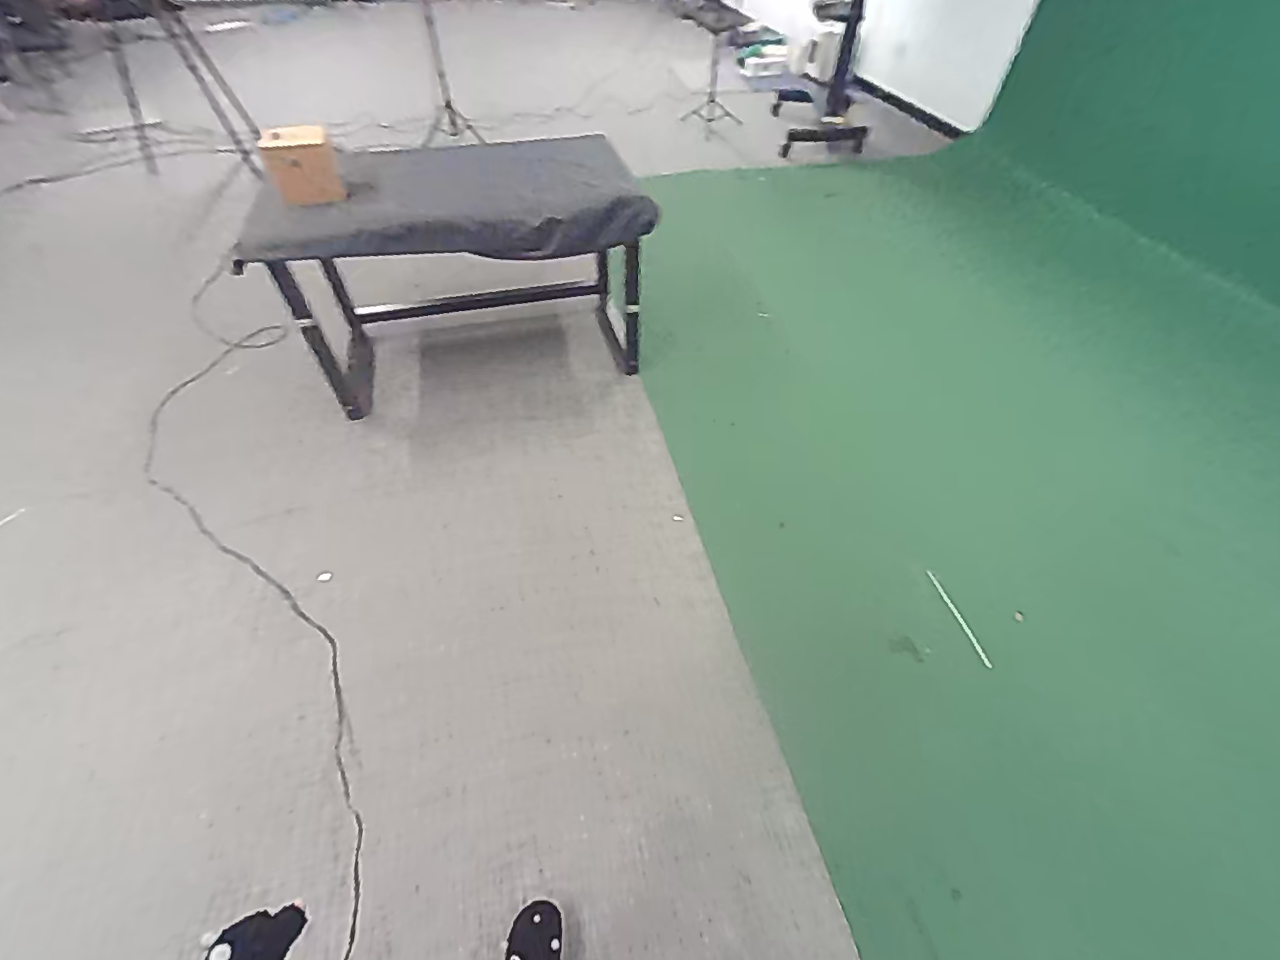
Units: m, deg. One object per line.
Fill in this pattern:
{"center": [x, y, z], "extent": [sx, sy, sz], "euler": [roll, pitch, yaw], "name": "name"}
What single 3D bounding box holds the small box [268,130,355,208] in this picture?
{"center": [-1.016, -0.967, 1.684], "extent": [0.179, 0.176, 0.168], "euler": [-12, 51, -13], "name": "small box"}
